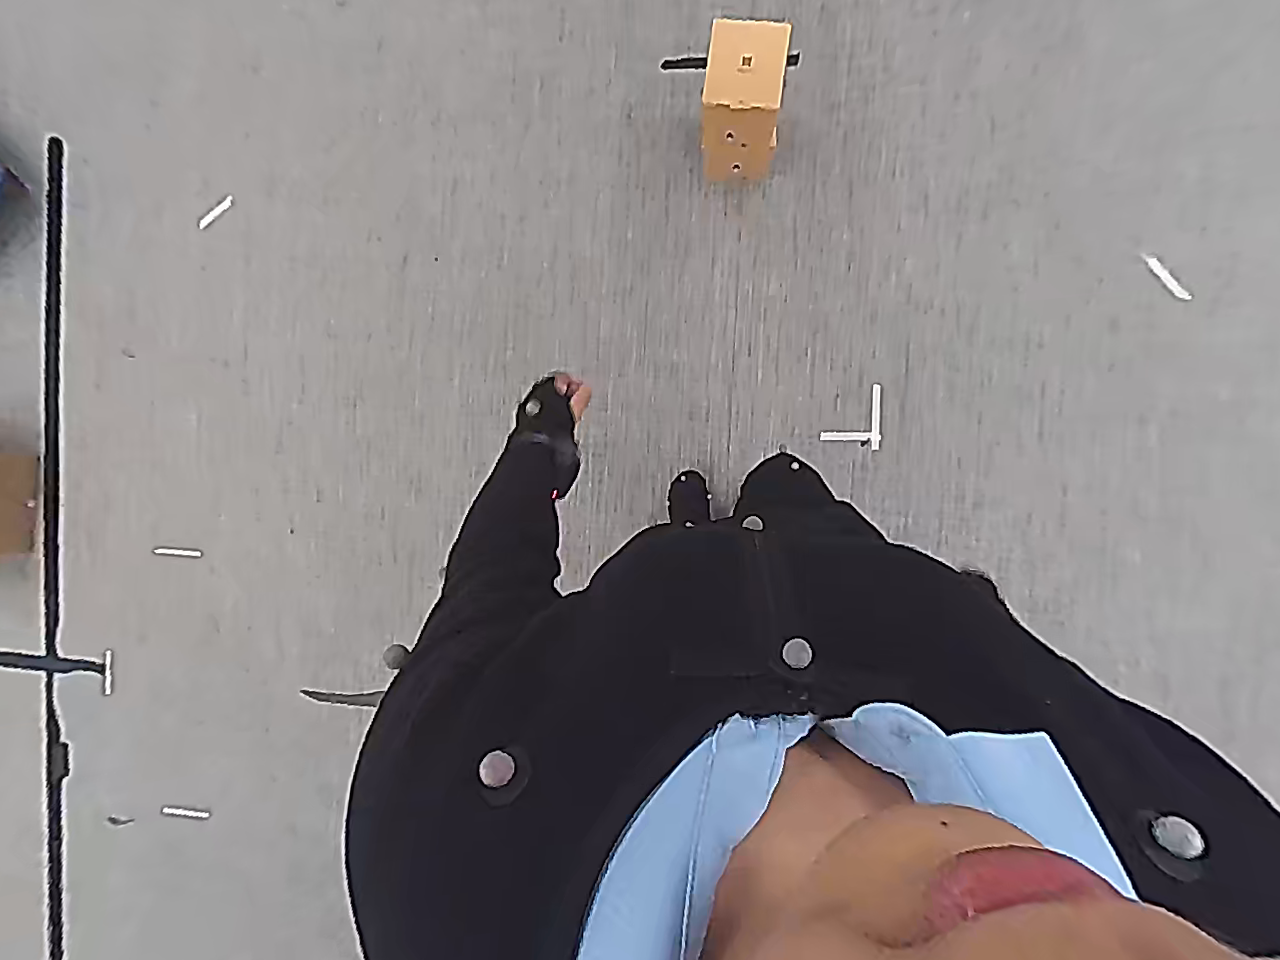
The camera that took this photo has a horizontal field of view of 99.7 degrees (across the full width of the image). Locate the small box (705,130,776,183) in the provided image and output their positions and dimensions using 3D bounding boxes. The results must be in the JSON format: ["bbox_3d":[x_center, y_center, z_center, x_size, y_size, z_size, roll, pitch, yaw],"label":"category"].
[{"bbox_3d":[0.253,-0.878,1.371,0.168,0.176,0.179,1,92,5],"label":"small box"}]

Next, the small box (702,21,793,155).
[{"bbox_3d":[0.232,-0.869,1.210,0.168,0.176,0.179,8,93,5],"label":"small box"}]
